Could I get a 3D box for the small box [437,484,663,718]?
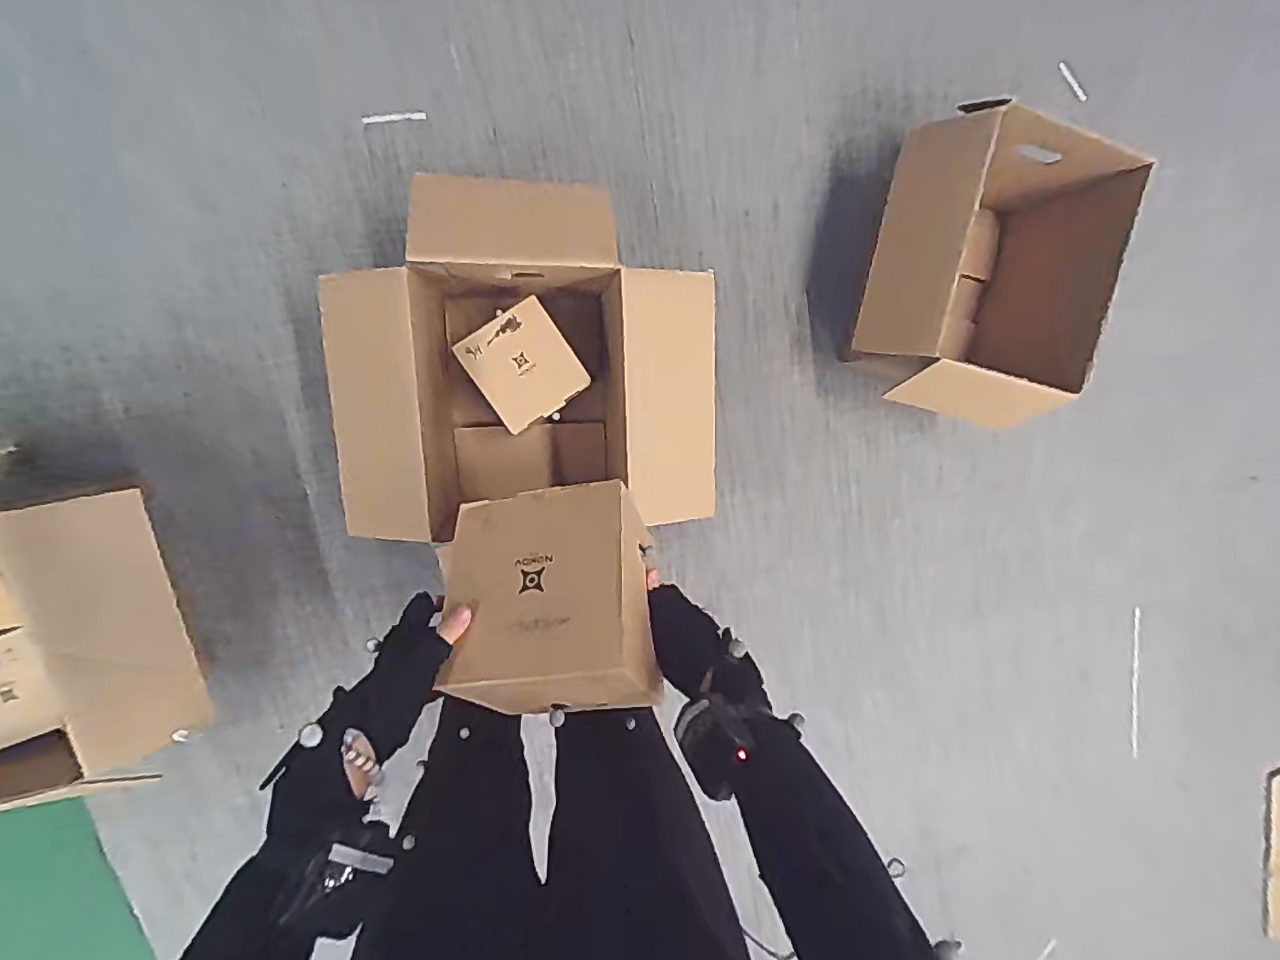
[{"bbox_3d":[-0.075,0.129,0.547,0.168,0.179,0.176,-9,146,10],"label":"small box"}]
